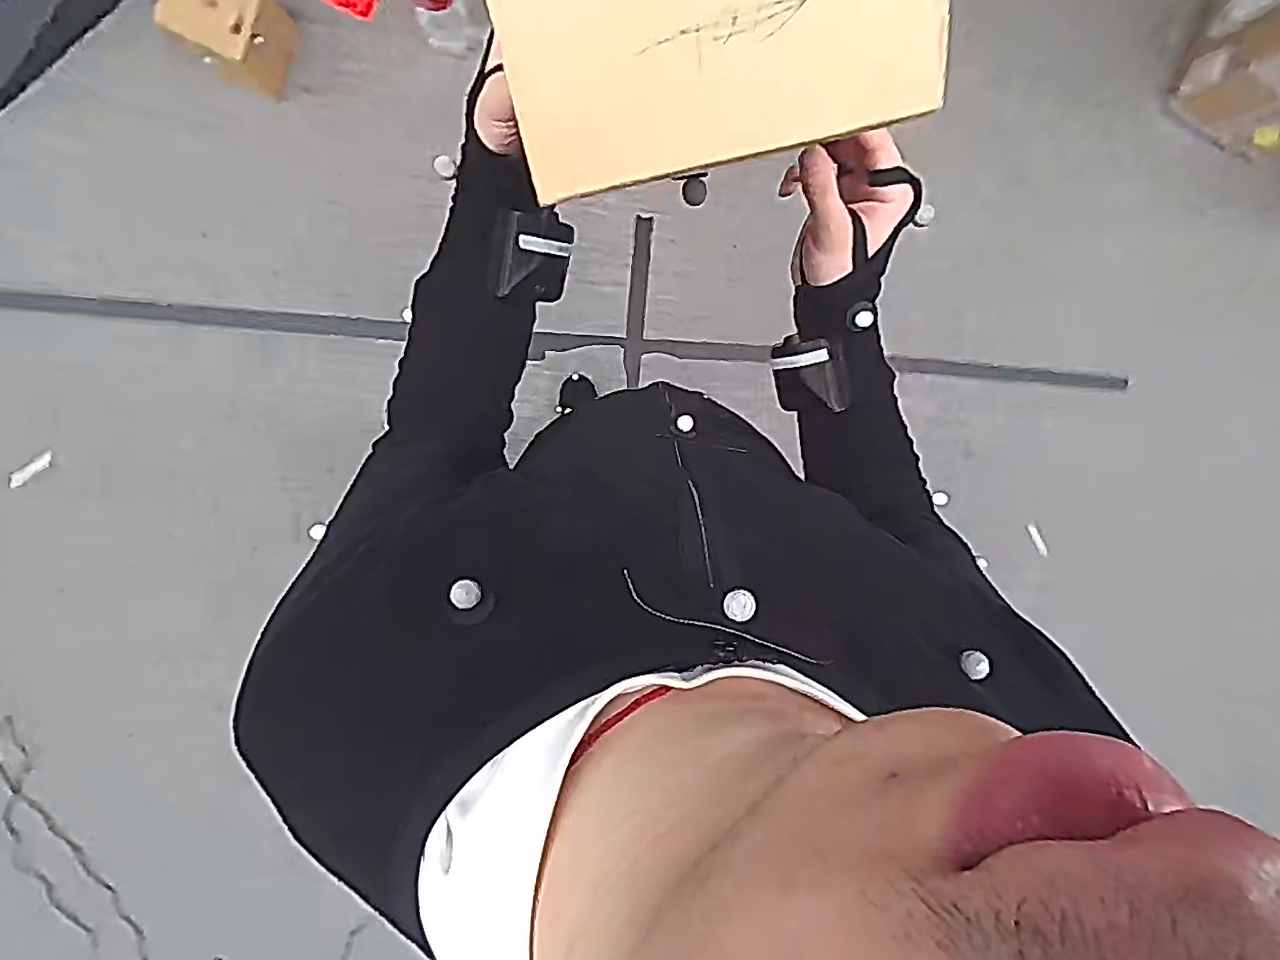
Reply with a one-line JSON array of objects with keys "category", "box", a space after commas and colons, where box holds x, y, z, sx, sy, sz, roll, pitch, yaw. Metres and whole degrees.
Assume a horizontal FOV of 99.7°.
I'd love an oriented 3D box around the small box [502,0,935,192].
[{"category": "small box", "box": [0.027, -0.251, 0.262, 0.168, 0.176, 0.179, -7, 119, 8]}]
